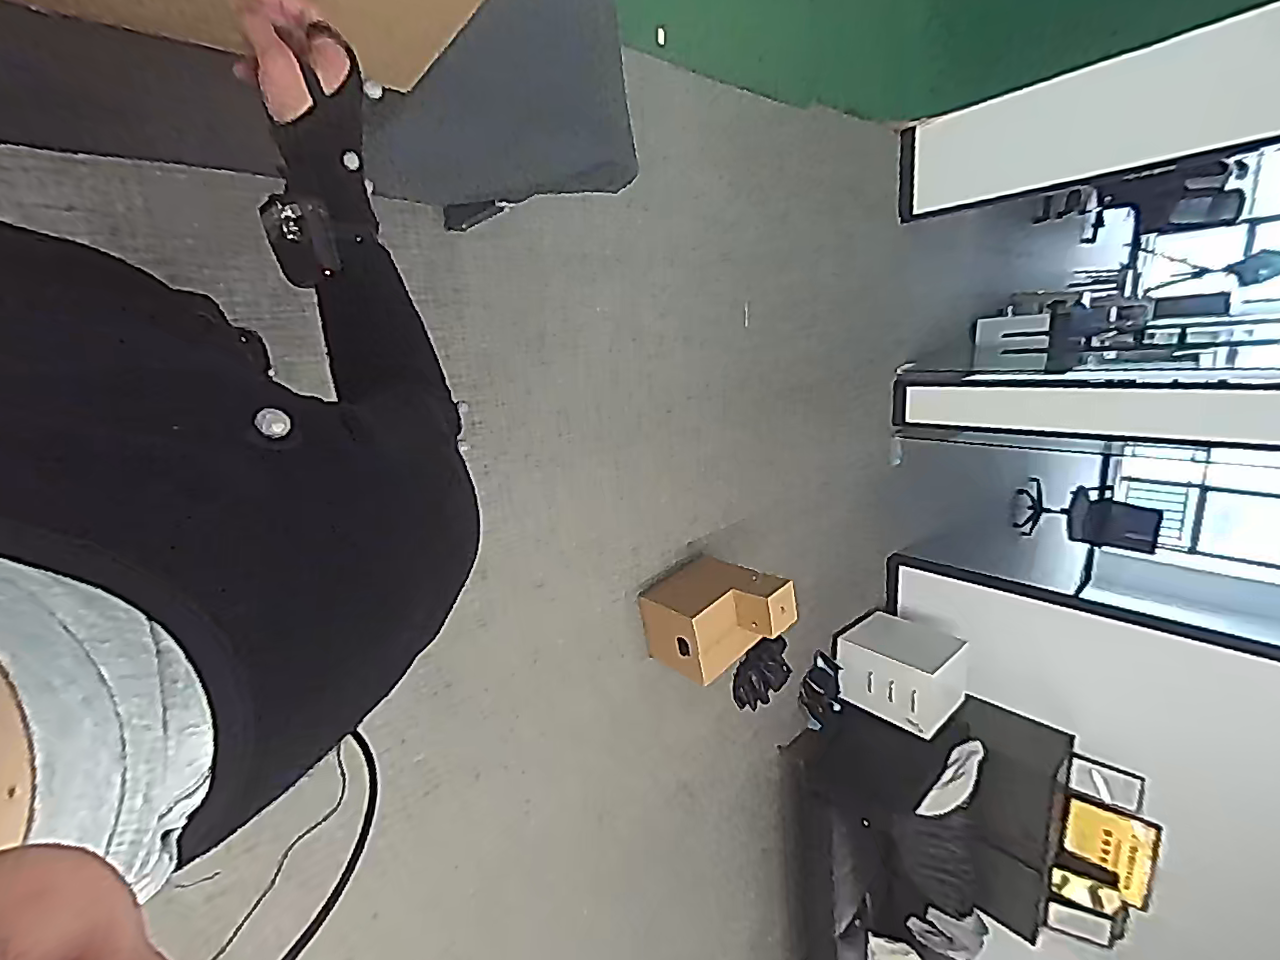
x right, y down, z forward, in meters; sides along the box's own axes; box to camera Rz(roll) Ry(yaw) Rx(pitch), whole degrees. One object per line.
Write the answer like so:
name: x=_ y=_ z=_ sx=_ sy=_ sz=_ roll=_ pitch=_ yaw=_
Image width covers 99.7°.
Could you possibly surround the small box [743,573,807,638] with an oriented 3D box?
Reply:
small box: x=0.524 y=0.482 z=2.107 sx=0.168 sy=0.176 sz=0.179 roll=-24 pitch=108 yaw=-37
